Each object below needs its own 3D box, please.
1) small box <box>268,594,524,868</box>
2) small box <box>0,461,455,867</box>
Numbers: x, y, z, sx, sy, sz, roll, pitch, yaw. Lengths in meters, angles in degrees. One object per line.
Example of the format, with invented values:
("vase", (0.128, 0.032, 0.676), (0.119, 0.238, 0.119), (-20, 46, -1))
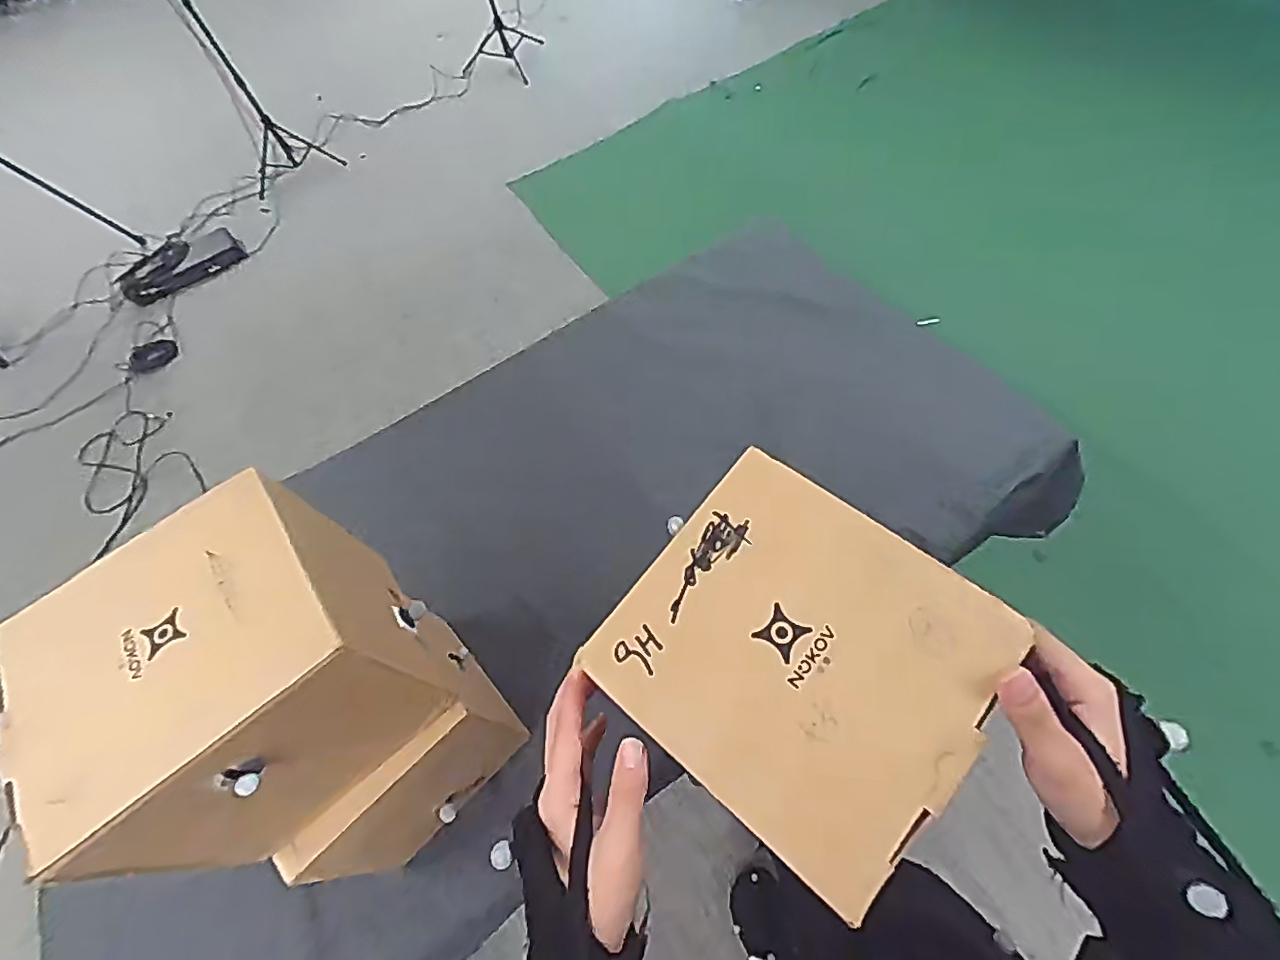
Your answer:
("small box", (-0.241, 0.222, 0.514), (0.168, 0.176, 0.179), (-42, 63, -16))
("small box", (-0.268, 0.127, 0.384), (0.179, 0.176, 0.168), (-38, 63, -15))
